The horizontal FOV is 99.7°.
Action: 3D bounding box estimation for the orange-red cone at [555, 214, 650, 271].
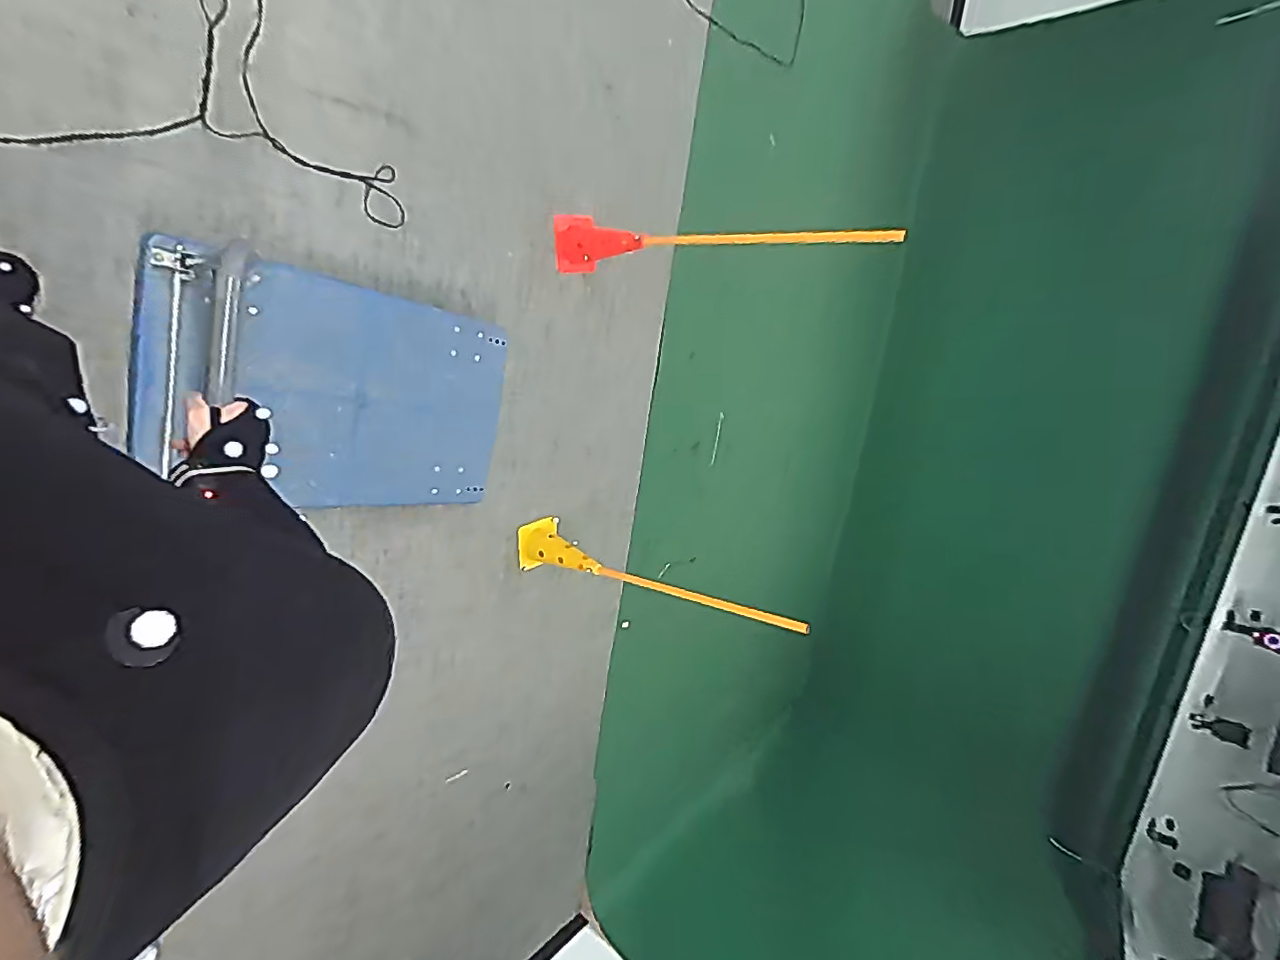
[{"bbox_3d":[-0.112,-0.862,1.943,0.198,0.360,0.199,-24,120,-45],"label":"orange-red cone"}]
